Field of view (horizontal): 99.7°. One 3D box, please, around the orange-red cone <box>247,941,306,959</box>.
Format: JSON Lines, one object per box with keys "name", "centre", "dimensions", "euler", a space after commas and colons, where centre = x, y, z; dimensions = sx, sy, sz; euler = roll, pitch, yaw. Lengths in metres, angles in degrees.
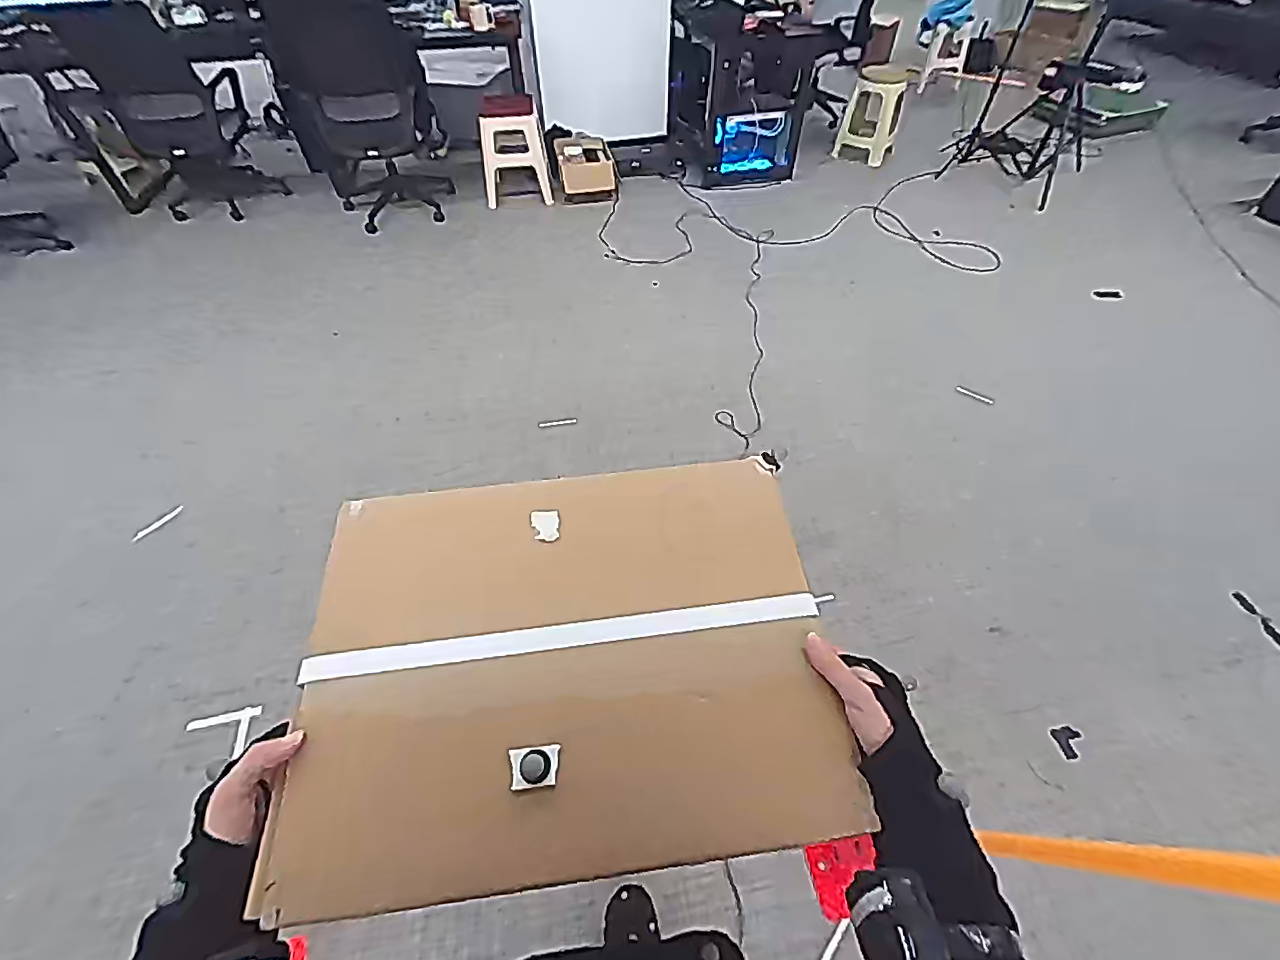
{"name": "orange-red cone", "centre": [-0.733, 0.895, 0.866], "dimensions": [0.199, 0.360, 0.198], "euler": [-17, 51, -11]}
